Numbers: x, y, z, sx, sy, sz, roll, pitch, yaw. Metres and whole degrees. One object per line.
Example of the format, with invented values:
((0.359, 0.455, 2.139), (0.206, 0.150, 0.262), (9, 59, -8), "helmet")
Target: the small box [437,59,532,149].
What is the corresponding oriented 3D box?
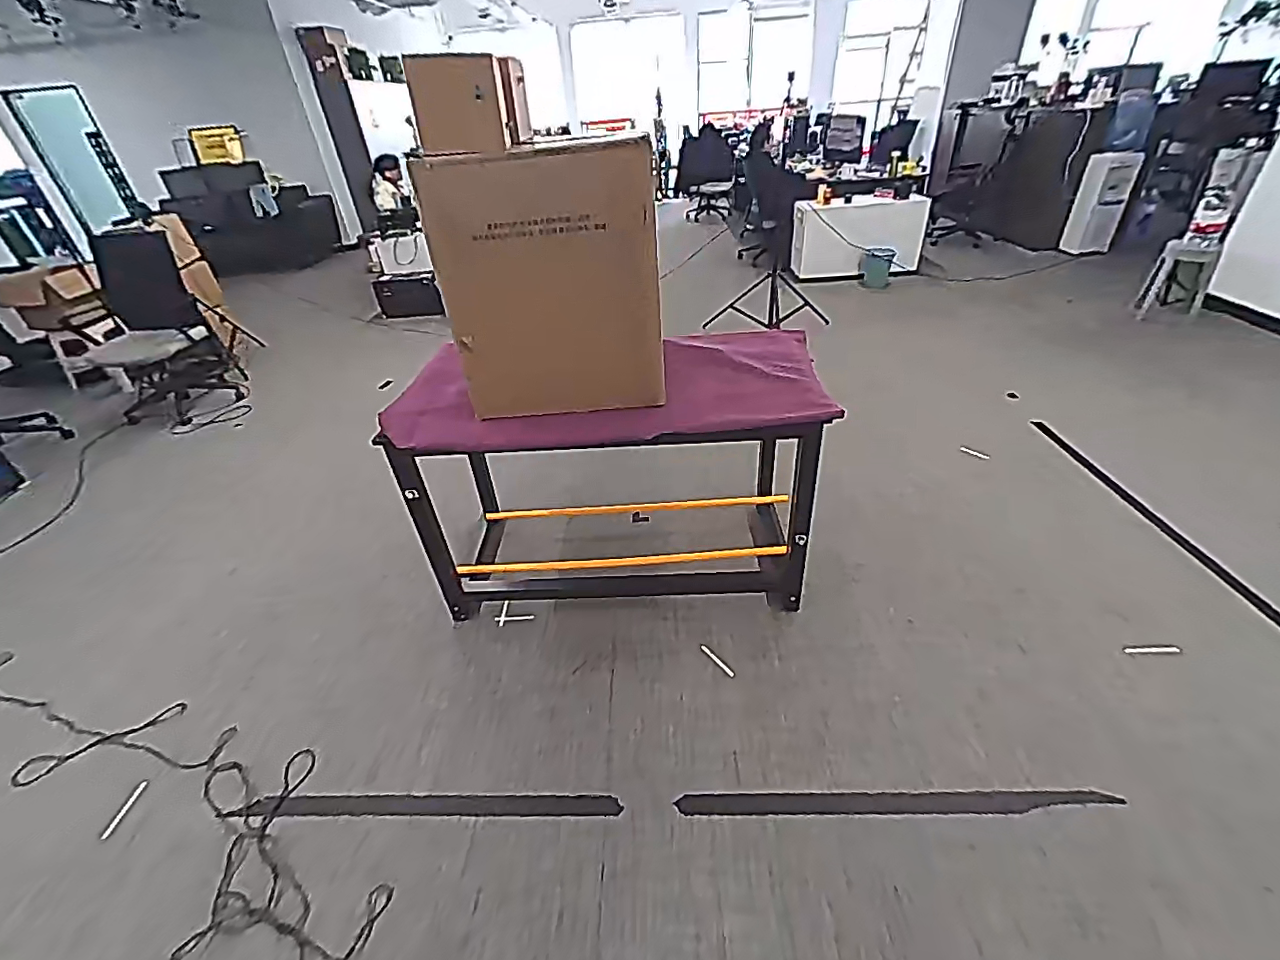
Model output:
((-0.372, -0.921, 1.333), (0.168, 0.176, 0.179), (-1, 35, 3), "small box")
